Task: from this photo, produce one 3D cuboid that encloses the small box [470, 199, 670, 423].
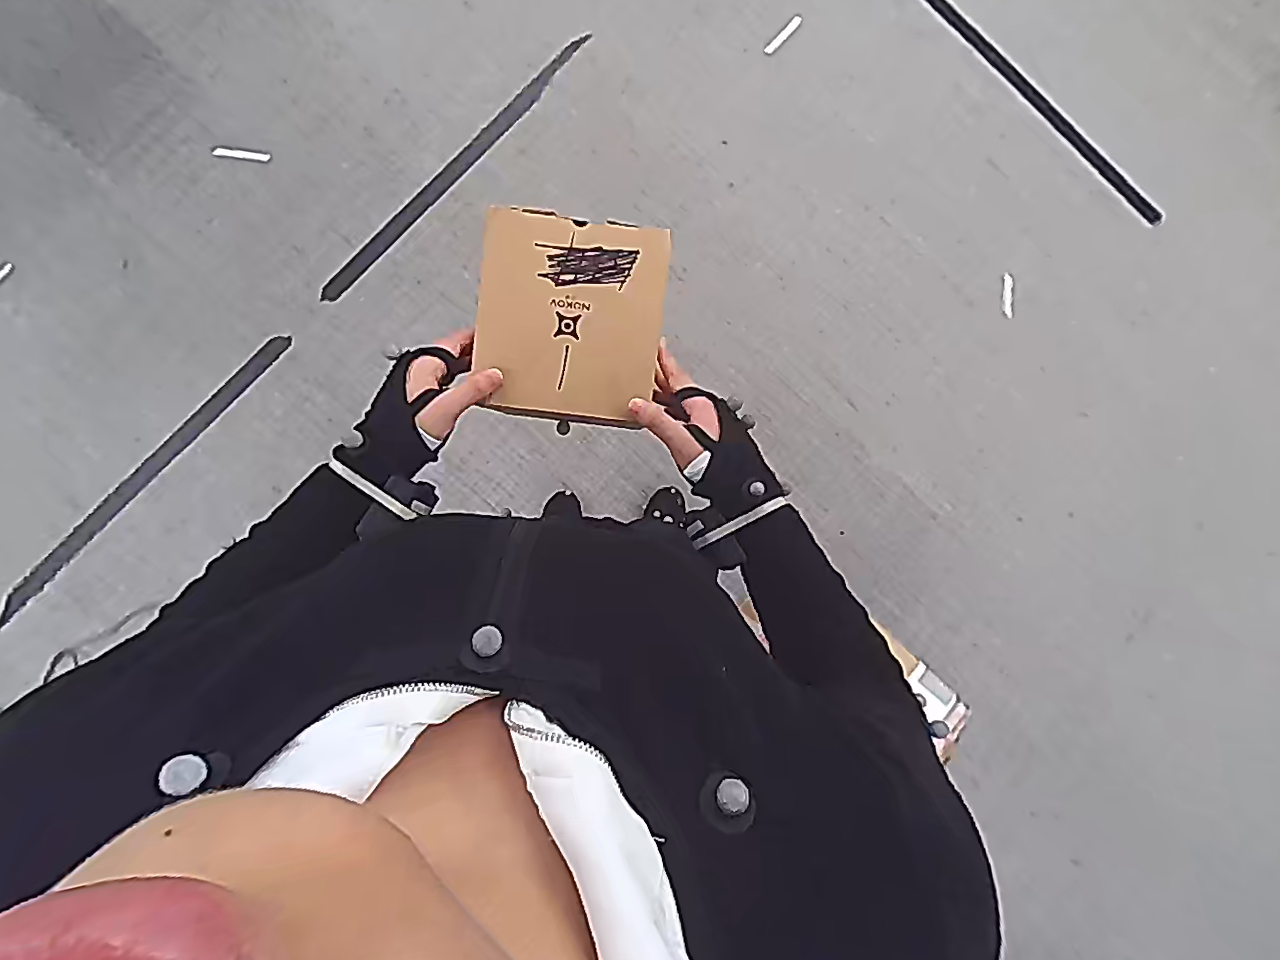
[{"bbox_3d":[-0.067,-0.158,0.564,0.168,0.176,0.179,6,94,-3],"label":"small box"}]
